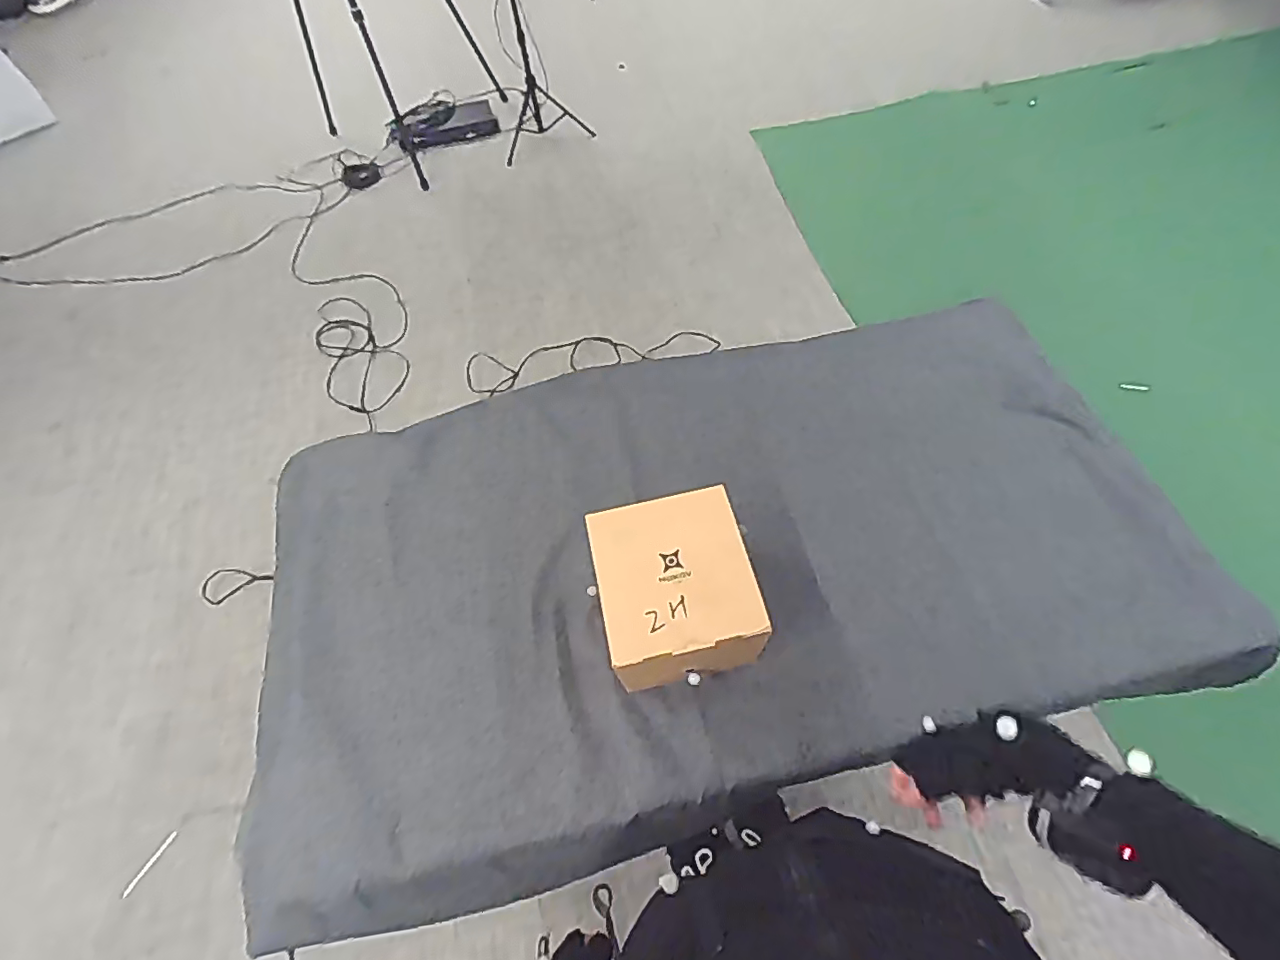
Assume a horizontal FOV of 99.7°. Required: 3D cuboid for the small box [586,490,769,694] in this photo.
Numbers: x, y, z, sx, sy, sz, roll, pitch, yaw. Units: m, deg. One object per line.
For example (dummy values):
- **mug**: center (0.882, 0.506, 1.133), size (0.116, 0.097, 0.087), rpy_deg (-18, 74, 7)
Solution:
- **small box**: center (0.039, 0.139, 0.647), size (0.168, 0.176, 0.179), rpy_deg (-13, 61, -2)
